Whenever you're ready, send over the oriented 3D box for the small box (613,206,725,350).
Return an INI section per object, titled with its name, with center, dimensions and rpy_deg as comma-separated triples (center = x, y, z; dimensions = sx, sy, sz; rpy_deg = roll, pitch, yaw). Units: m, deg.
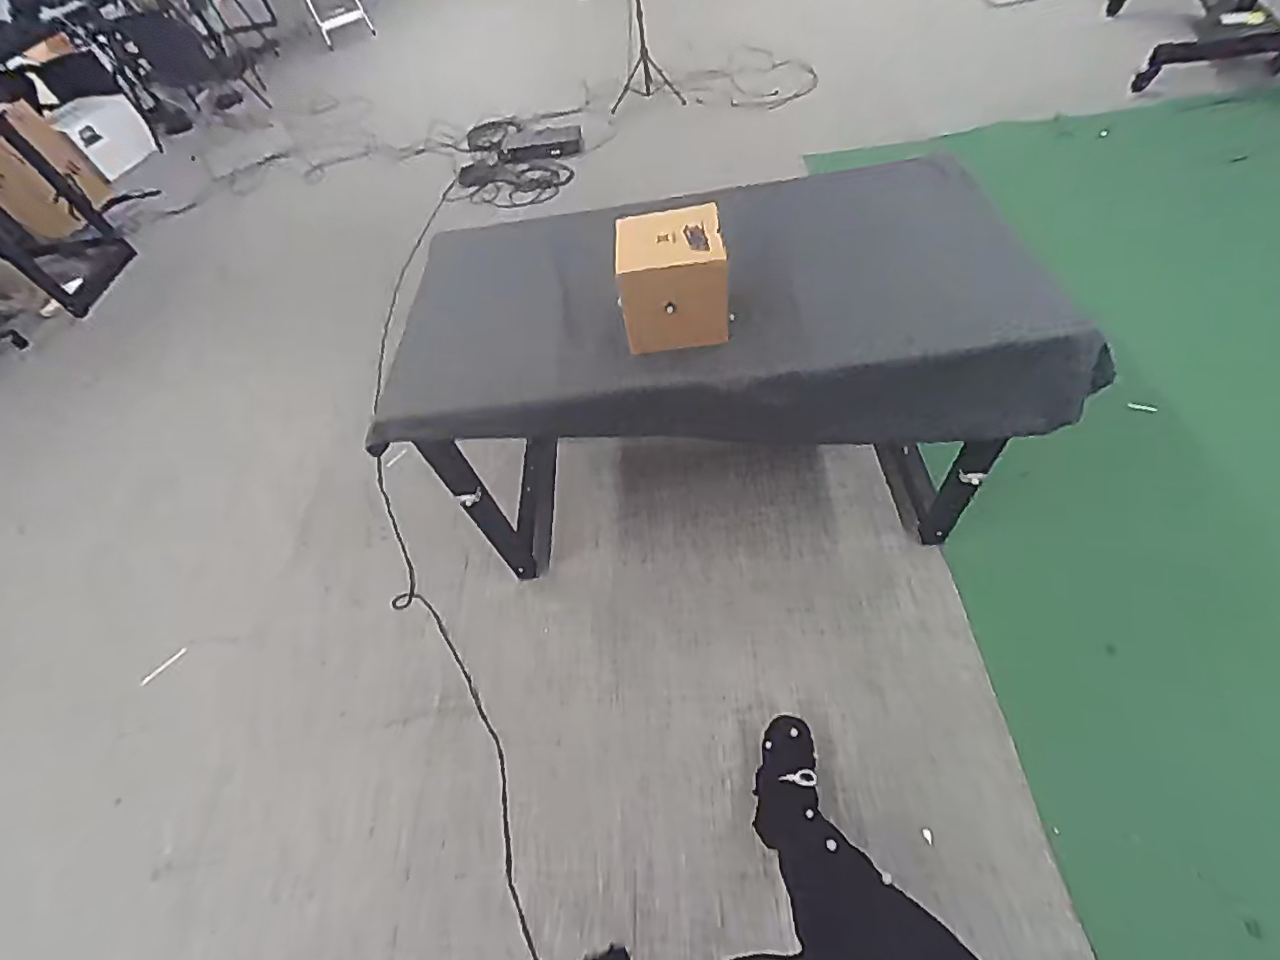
[small box]
center = 0.057, -0.348, 0.946
dimensions = 0.179, 0.176, 0.168
rpy_deg = -3, 53, 8
